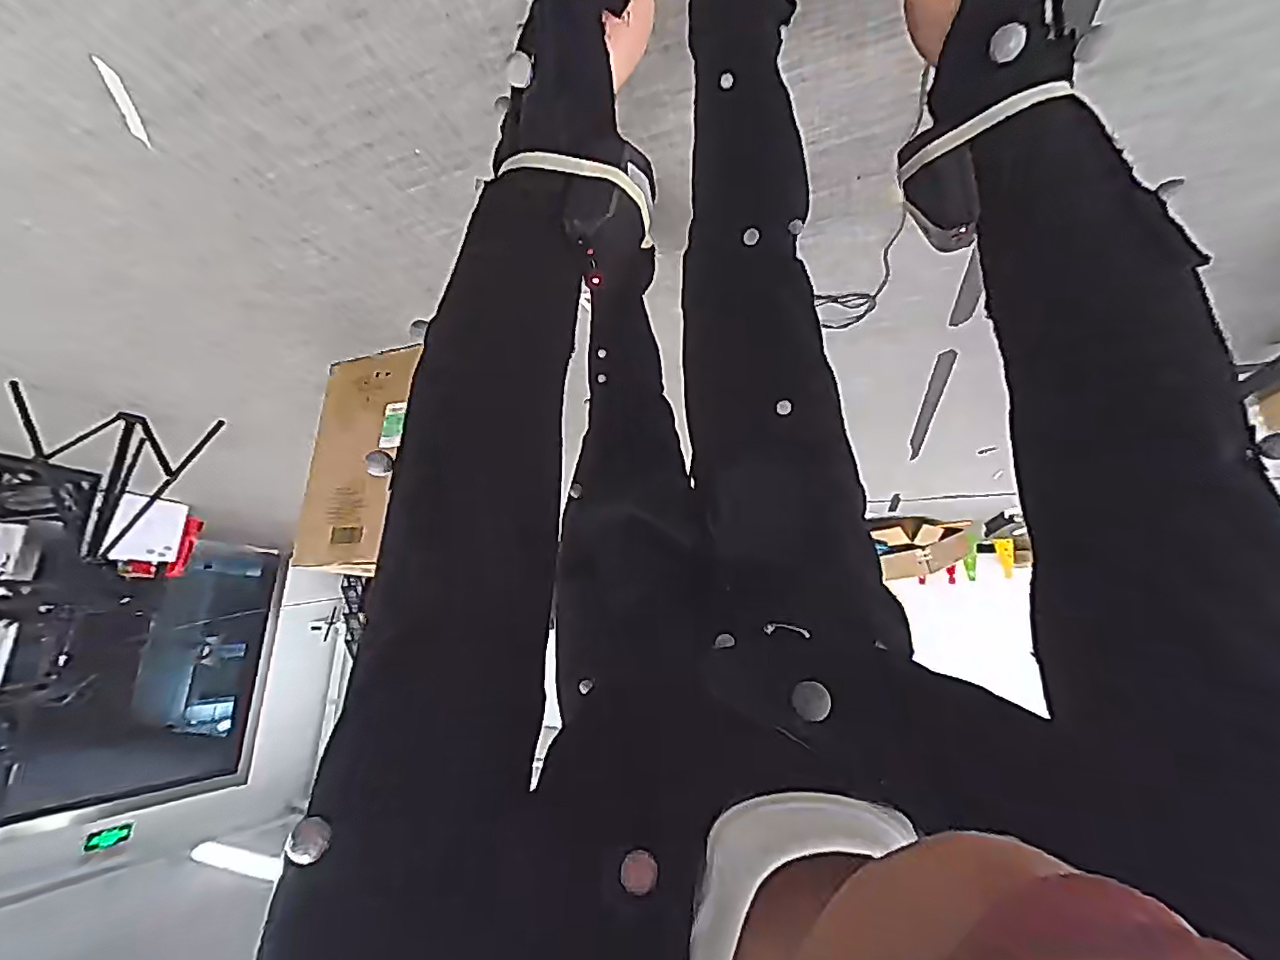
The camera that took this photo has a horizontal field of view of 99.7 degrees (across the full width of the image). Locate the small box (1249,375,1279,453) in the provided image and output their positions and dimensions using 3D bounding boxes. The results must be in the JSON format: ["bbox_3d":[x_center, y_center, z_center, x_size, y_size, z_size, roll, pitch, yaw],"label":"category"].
[{"bbox_3d":[1.678,-0.178,1.337,0.168,0.176,0.179,-4,163,22],"label":"small box"}]
